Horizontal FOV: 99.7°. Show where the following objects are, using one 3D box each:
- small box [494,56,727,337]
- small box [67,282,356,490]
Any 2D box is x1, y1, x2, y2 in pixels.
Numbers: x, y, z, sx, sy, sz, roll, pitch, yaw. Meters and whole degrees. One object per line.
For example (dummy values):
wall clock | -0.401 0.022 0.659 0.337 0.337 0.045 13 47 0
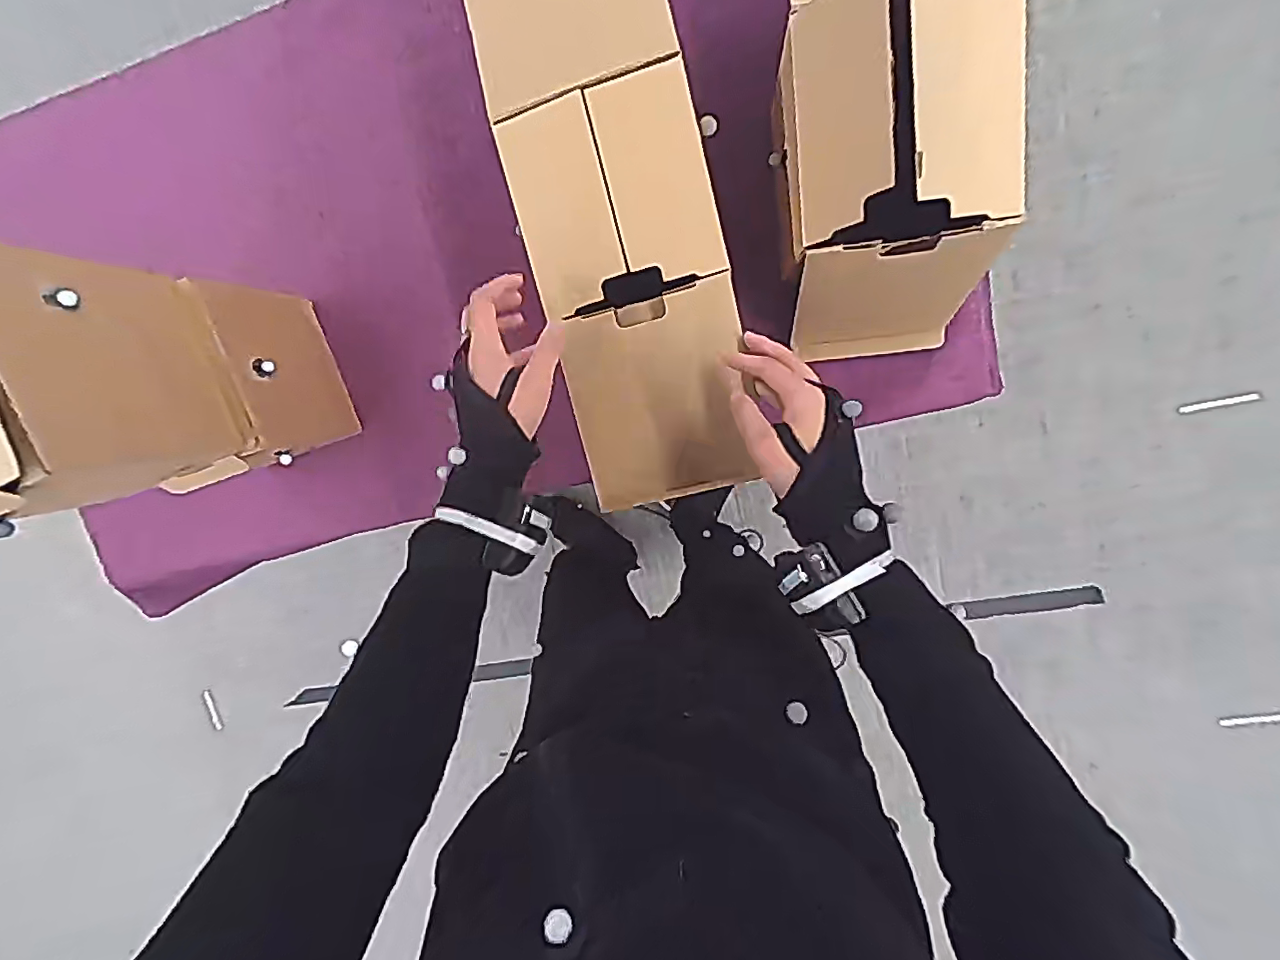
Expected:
small box | -0.015 -0.249 0.528 0.168 0.176 0.179 -12 99 11
small box | -0.468 -0.106 0.623 0.168 0.176 0.179 -16 98 10
